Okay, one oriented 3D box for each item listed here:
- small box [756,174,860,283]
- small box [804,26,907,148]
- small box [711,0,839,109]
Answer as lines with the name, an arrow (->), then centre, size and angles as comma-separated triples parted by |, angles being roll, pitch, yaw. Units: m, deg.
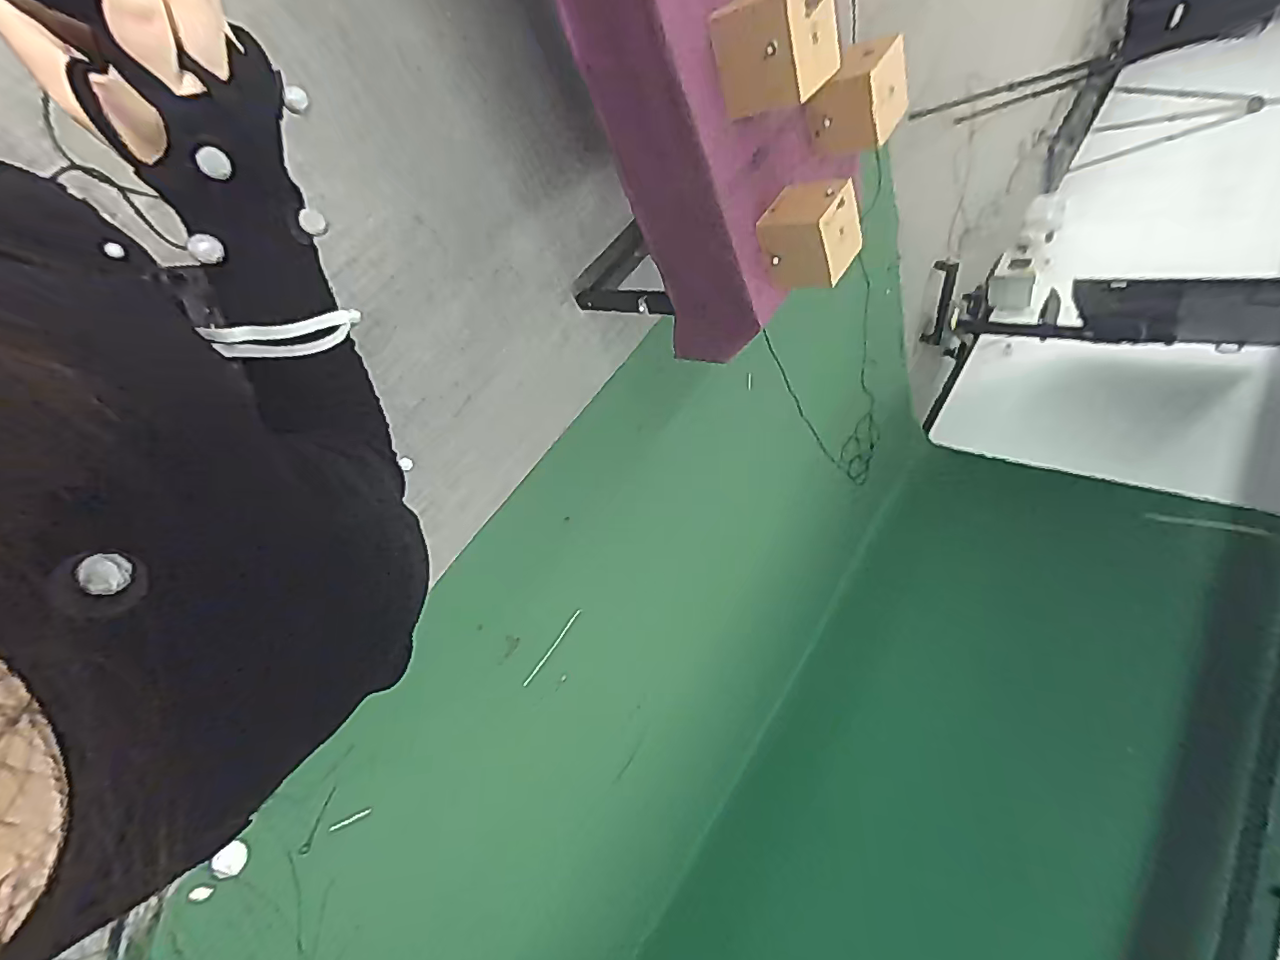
small box -> 0.405, -0.602, 1.301 | 0.168, 0.176, 0.179 | -54, 137, -19
small box -> 0.515, -0.929, 1.291 | 0.179, 0.176, 0.168 | -54, 137, -17
small box -> 0.259, -0.854, 1.040 | 0.168, 0.176, 0.179 | -50, 137, -21
